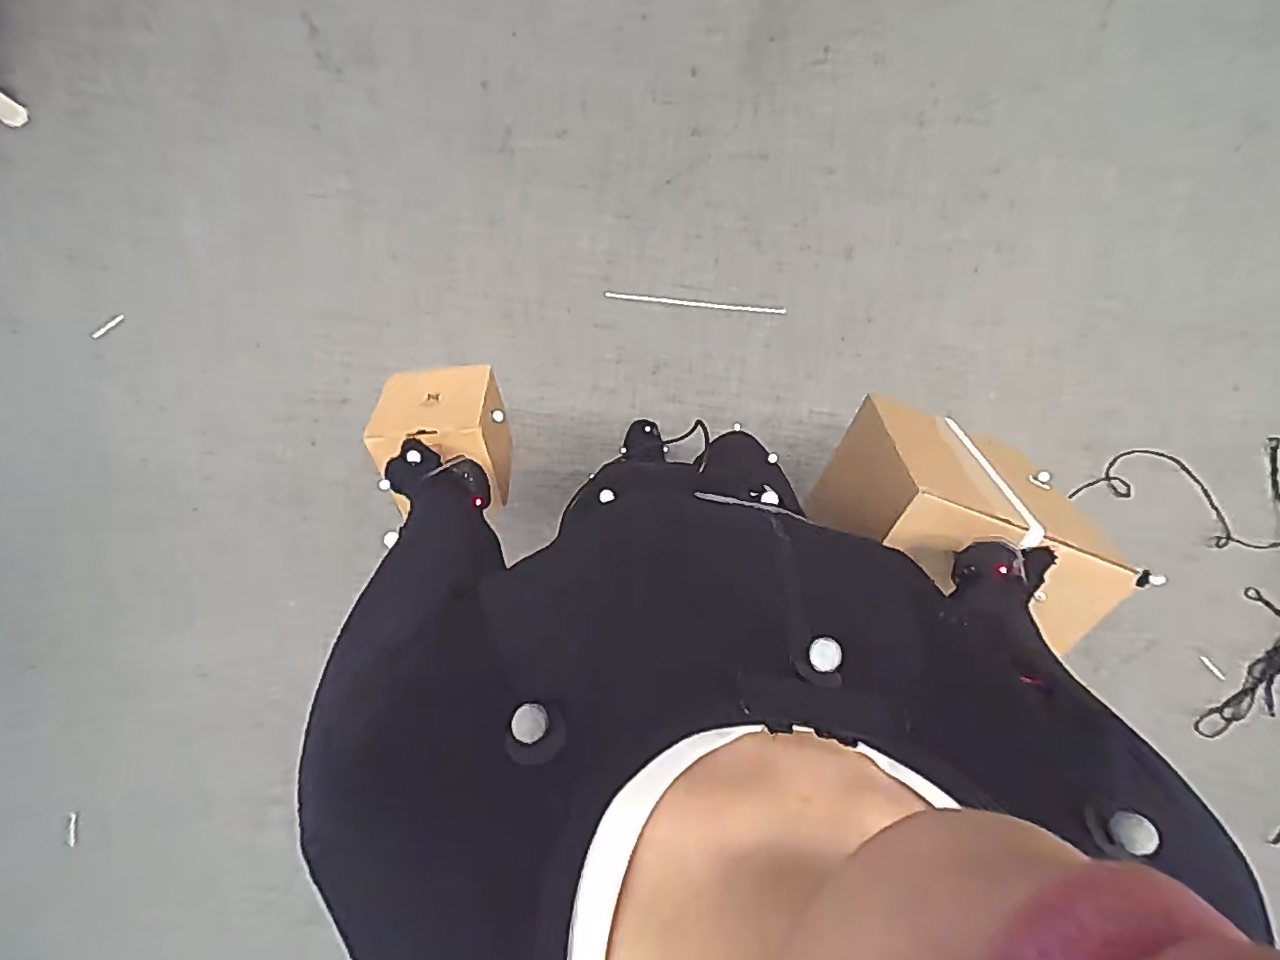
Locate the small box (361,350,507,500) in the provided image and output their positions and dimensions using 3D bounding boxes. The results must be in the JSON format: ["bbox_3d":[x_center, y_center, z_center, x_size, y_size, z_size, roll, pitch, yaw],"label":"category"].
[{"bbox_3d":[-0.318,-0.089,0.877,0.168,0.179,0.176,-6,135,-2],"label":"small box"}]
